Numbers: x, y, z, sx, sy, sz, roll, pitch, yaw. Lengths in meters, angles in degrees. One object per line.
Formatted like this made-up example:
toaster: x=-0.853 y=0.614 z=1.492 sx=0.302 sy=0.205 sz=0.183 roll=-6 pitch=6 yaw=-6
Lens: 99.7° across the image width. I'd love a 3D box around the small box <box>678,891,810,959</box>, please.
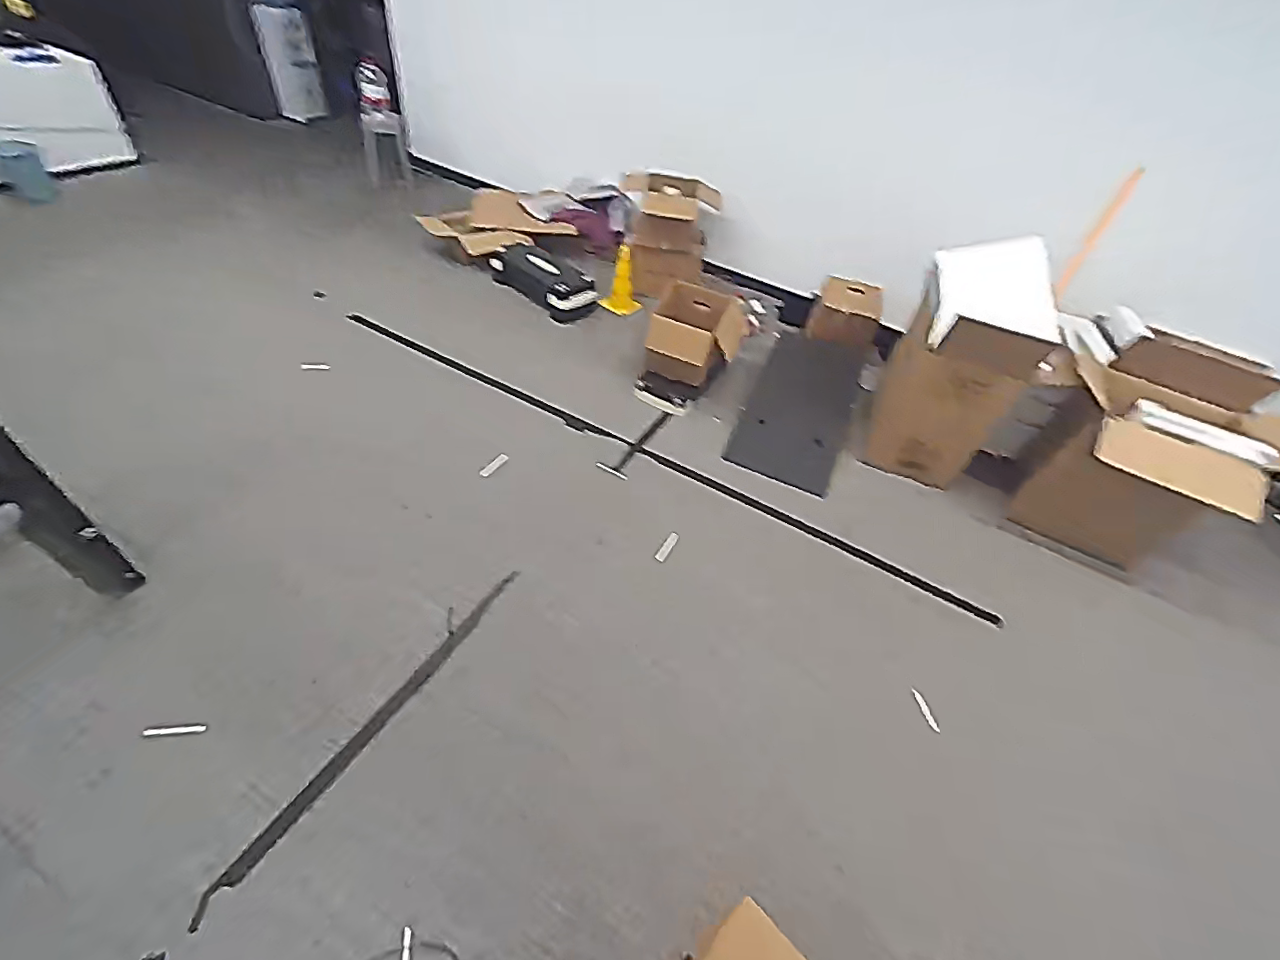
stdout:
small box: x=0.108 y=0.604 z=0.585 sx=0.168 sy=0.176 sz=0.179 roll=38 pitch=50 yaw=24
